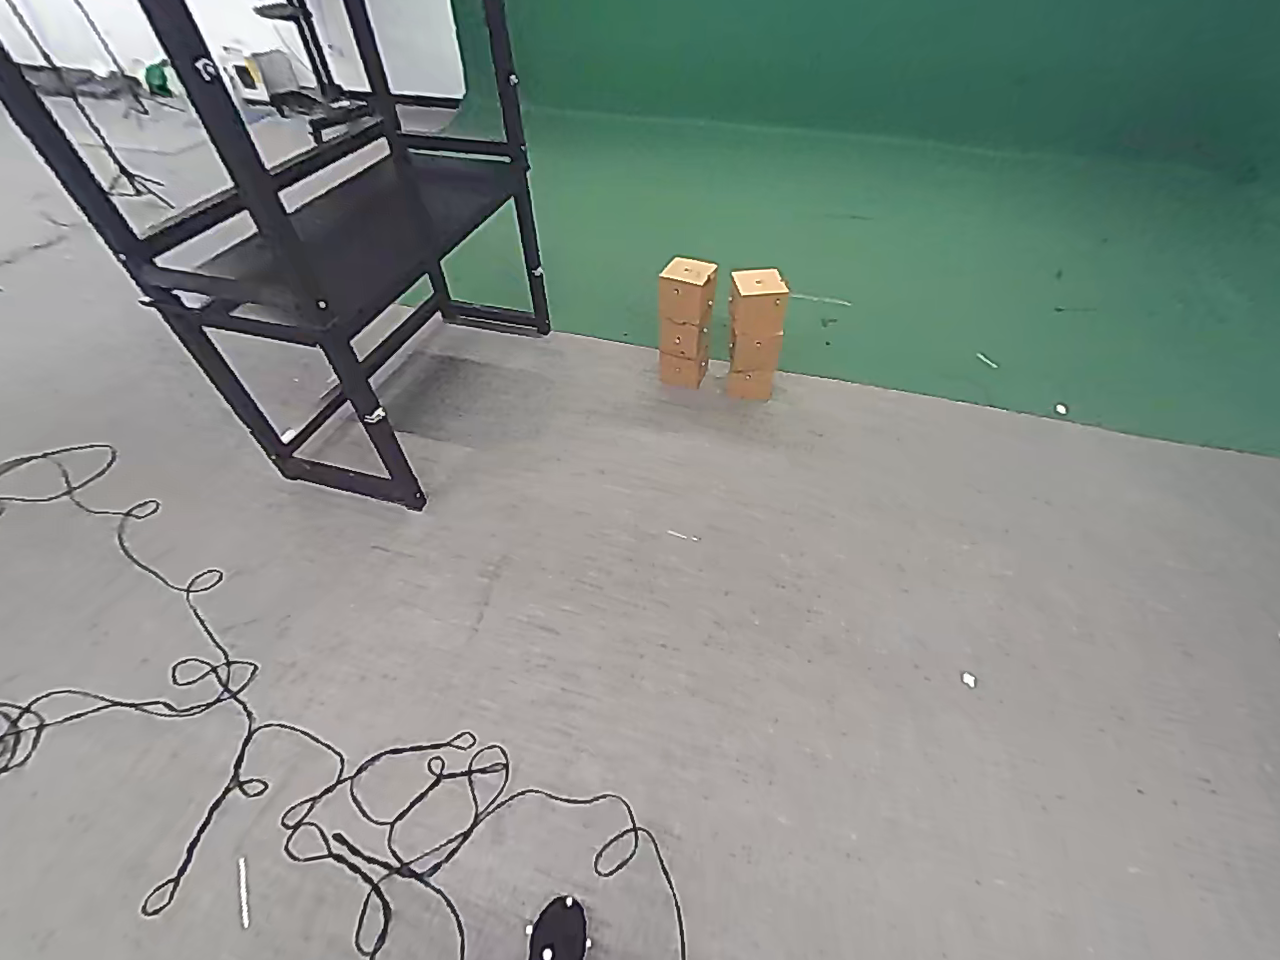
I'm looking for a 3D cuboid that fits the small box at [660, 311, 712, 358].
[{"bbox_3d":[0.191,-0.618,2.190,0.168,0.176,0.179,17,52,16],"label":"small box"}]

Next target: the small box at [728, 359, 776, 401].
[{"bbox_3d":[0.466,-0.448,2.254,0.179,0.176,0.168,8,50,7],"label":"small box"}]

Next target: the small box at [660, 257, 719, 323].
[{"bbox_3d":[0.185,-0.719,2.058,0.179,0.176,0.168,20,52,18],"label":"small box"}]

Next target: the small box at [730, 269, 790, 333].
[{"bbox_3d":[0.437,-0.662,2.009,0.179,0.176,0.168,-6,50,-5],"label":"small box"}]

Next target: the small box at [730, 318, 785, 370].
[{"bbox_3d":[0.453,-0.549,2.127,0.179,0.176,0.168,-2,51,-2],"label":"small box"}]
